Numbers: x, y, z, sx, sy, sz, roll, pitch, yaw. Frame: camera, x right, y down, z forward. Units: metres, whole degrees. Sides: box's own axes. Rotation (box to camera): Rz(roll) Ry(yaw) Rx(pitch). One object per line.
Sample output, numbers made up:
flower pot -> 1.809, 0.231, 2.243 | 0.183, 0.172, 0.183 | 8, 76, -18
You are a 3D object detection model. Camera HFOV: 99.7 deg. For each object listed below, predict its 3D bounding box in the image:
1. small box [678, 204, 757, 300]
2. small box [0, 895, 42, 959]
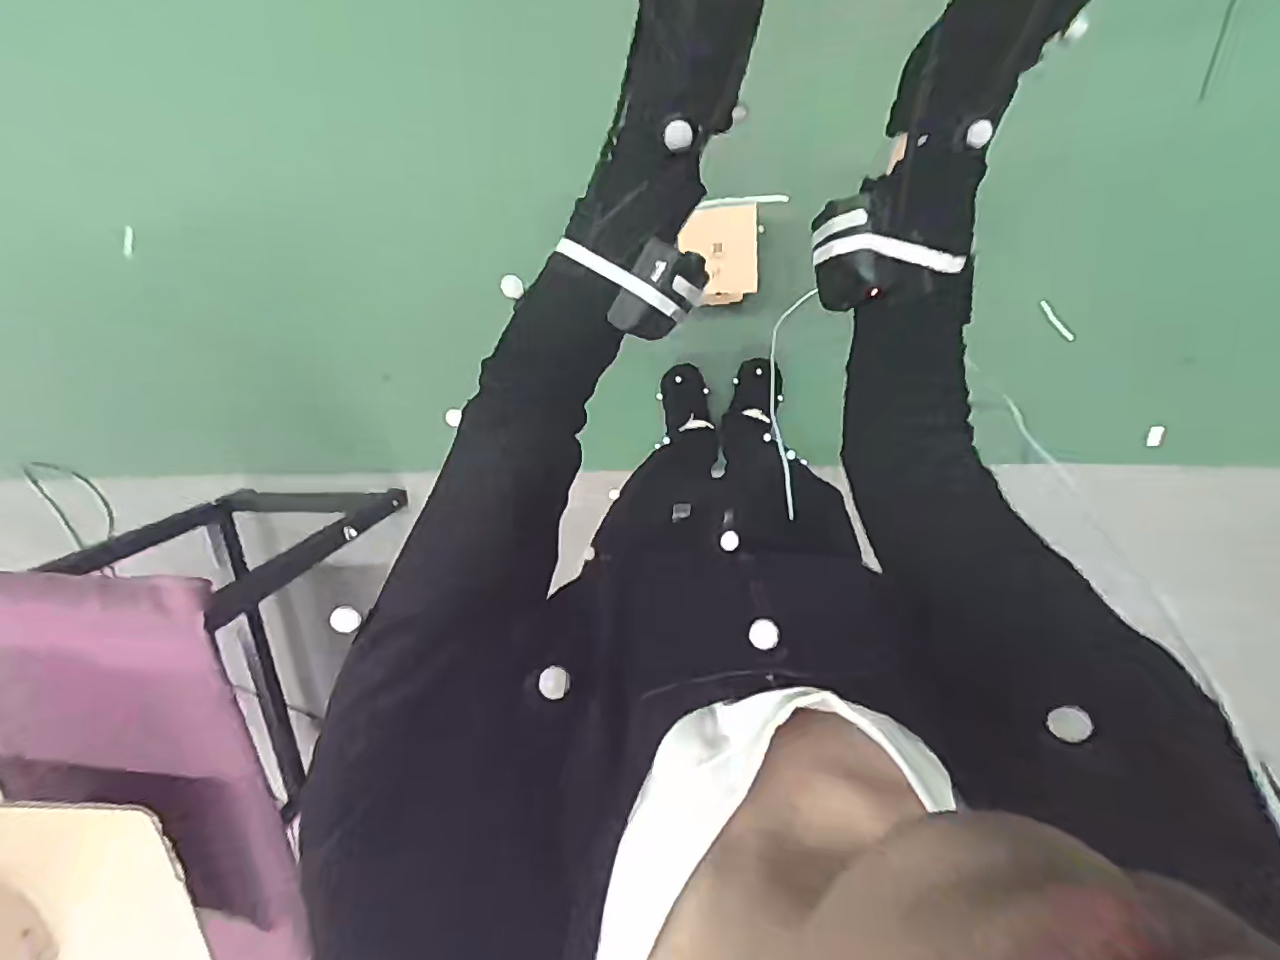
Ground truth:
small box -> 0.174, -0.505, 1.217 | 0.168, 0.176, 0.179 | -1, 107, 9
small box -> -1.157, 0.814, 0.891 | 0.179, 0.176, 0.168 | 3, 108, 11
